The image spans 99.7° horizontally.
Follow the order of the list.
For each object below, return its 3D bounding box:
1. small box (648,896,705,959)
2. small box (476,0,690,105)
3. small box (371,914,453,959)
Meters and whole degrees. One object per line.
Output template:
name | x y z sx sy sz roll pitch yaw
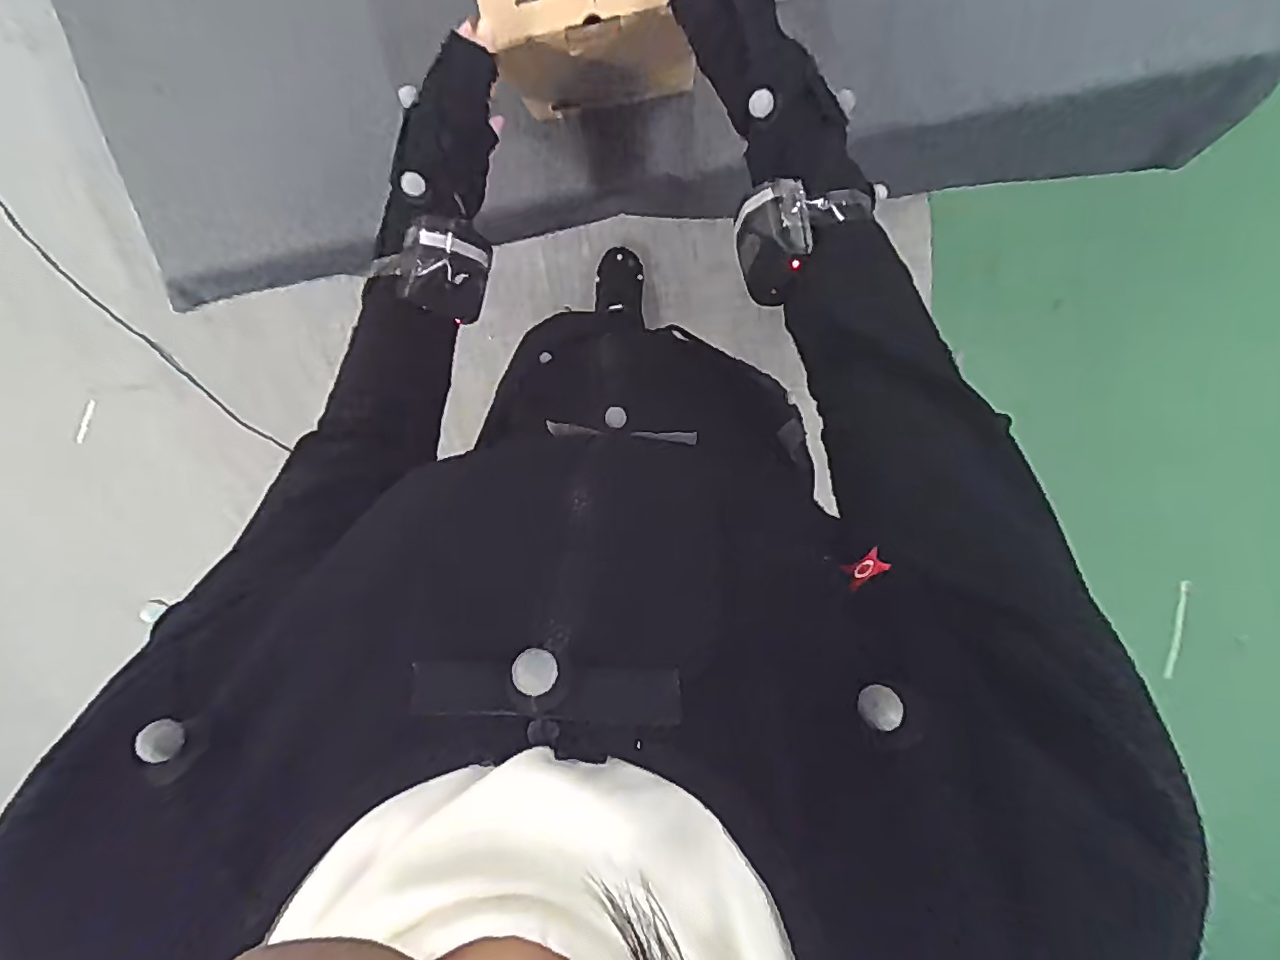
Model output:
small box | 0.126 1.580 1.867 0.179 0.176 0.168 -11 109 5
small box | -0.051 -0.451 0.461 0.168 0.176 0.179 -11 108 7
small box | -0.672 1.394 1.545 0.179 0.176 0.168 35 107 -9
